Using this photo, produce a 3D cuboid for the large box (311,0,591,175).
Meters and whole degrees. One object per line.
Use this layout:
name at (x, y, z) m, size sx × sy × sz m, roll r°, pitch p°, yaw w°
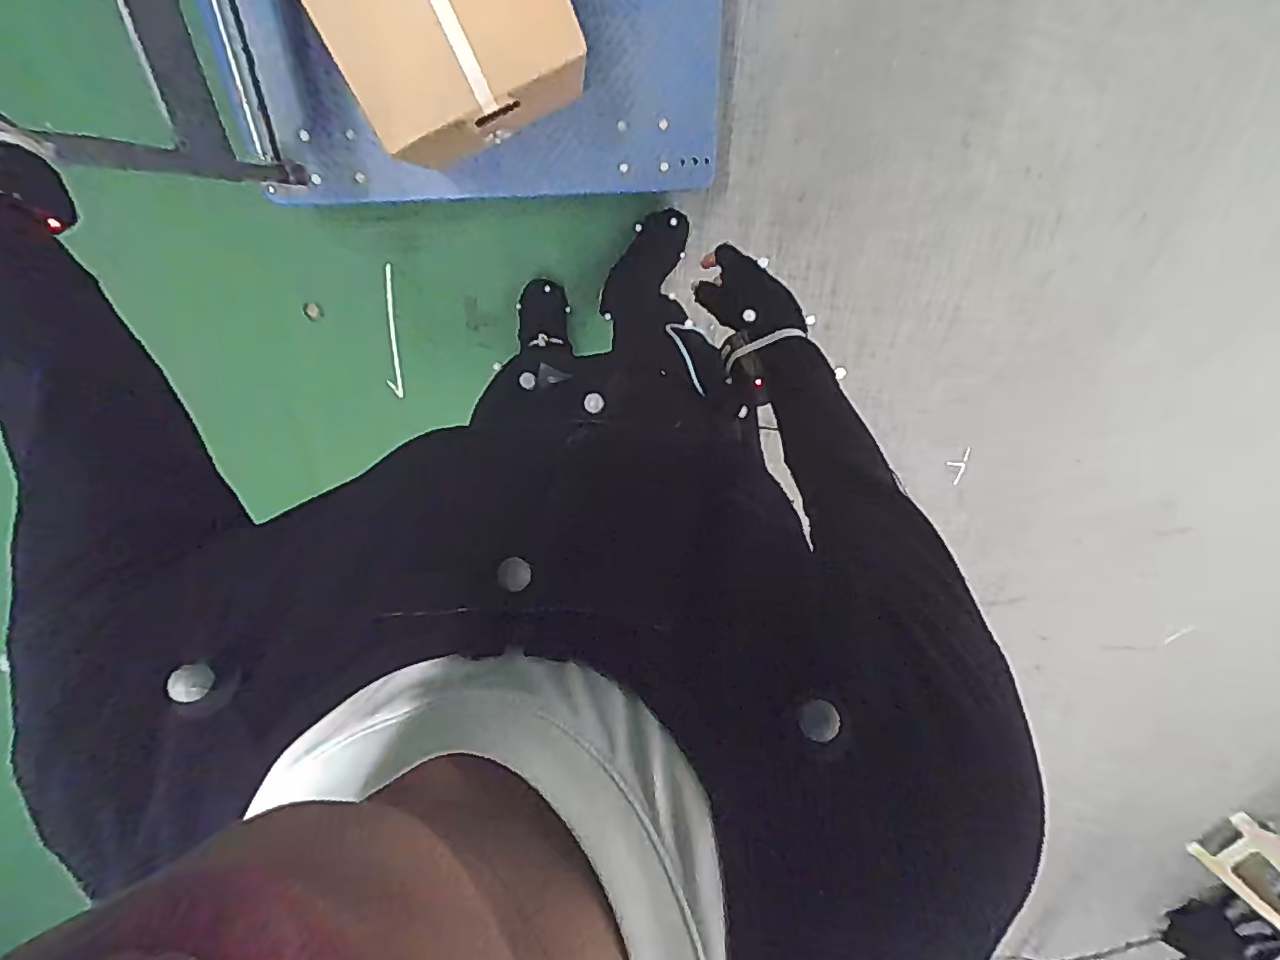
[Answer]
large box at (-0.295, -0.741, 0.810) m, size 0.320 × 0.320 × 0.408 m, roll -23°, pitch 115°, yaw 5°
